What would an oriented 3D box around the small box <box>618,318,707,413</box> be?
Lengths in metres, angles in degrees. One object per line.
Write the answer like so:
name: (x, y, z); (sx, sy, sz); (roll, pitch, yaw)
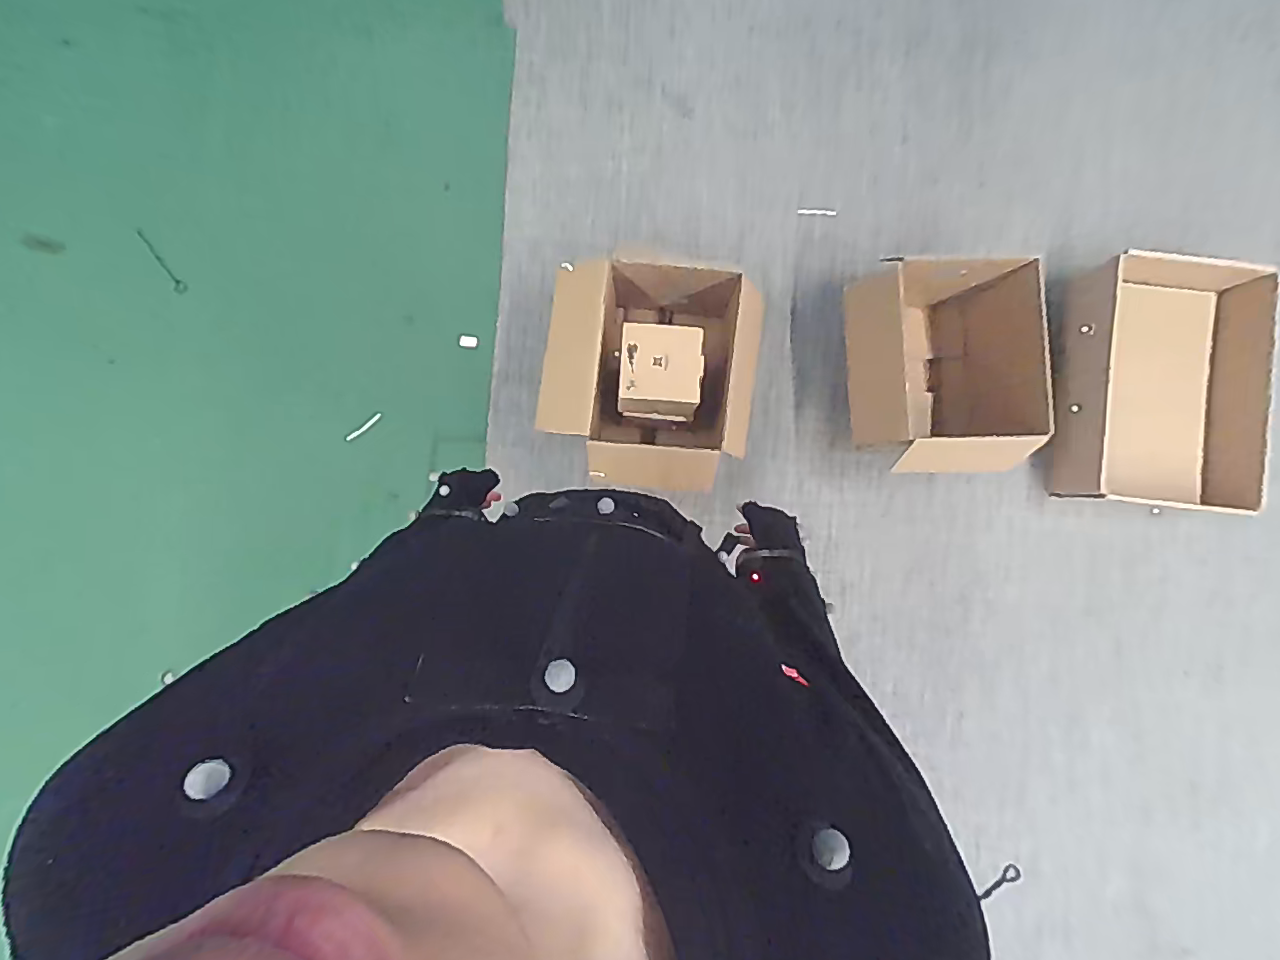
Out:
small box: (0.045, -0.251, 1.225); (0.179, 0.176, 0.168); (5, 86, -3)
